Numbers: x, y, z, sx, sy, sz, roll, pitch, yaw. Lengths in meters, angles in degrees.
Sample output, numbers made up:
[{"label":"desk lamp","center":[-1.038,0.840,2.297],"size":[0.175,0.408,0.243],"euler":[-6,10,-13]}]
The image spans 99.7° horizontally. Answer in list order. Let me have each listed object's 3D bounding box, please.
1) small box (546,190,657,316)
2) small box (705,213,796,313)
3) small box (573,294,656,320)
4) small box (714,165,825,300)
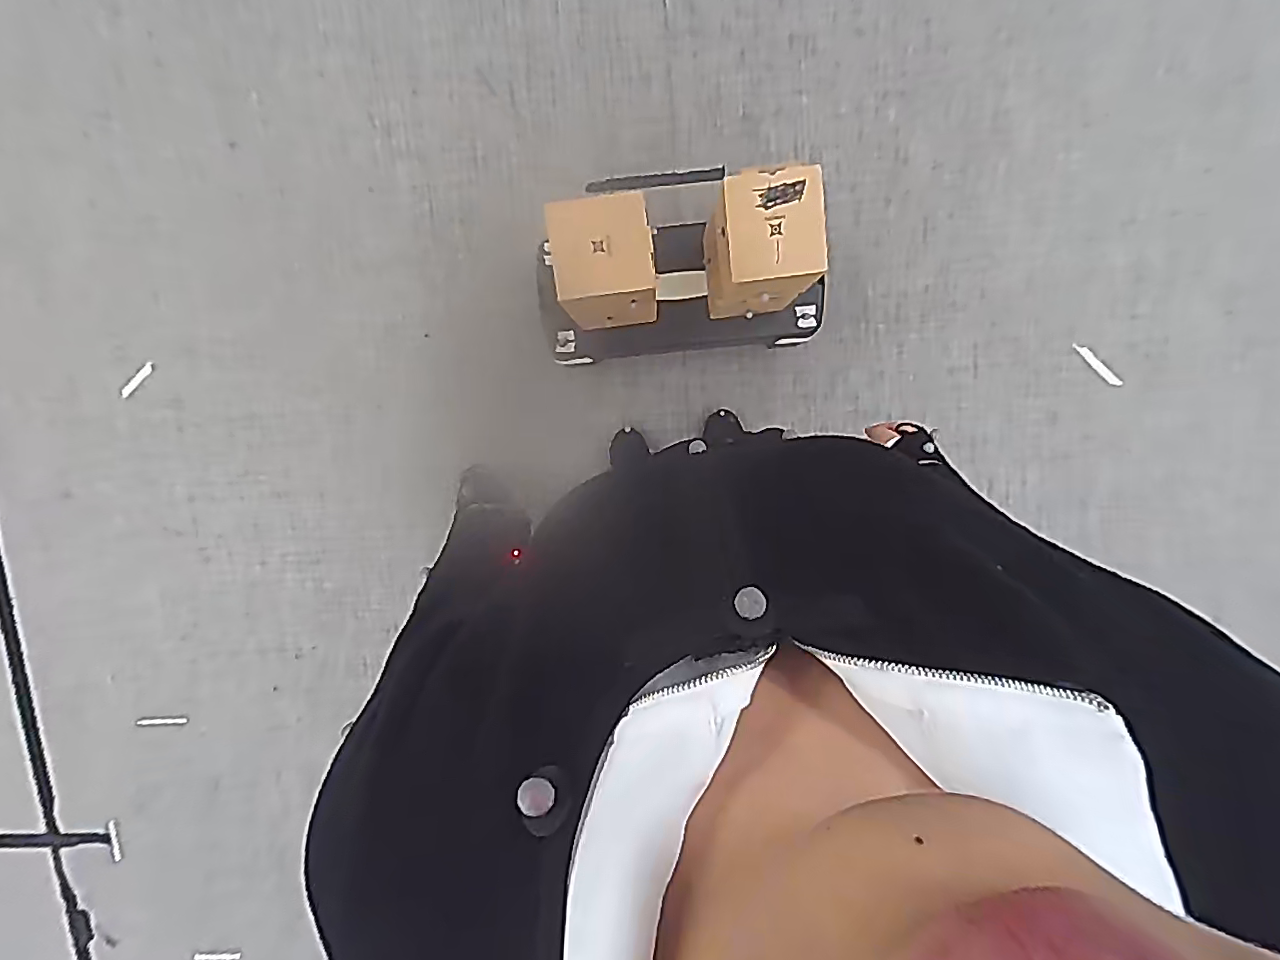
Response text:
[{"label":"small box","center":[-0.066,-0.415,1.014],"size":[0.179,0.176,0.168],"euler":[-8,96,3]},{"label":"small box","center":[0.229,-0.463,1.162],"size":[0.168,0.176,0.179],"euler":[-6,97,3]},{"label":"small box","center":[-0.060,-0.436,1.176],"size":[0.179,0.176,0.168],"euler":[-7,97,3]},{"label":"small box","center":[0.231,-0.447,0.999],"size":[0.168,0.176,0.179],"euler":[-6,98,3]}]
